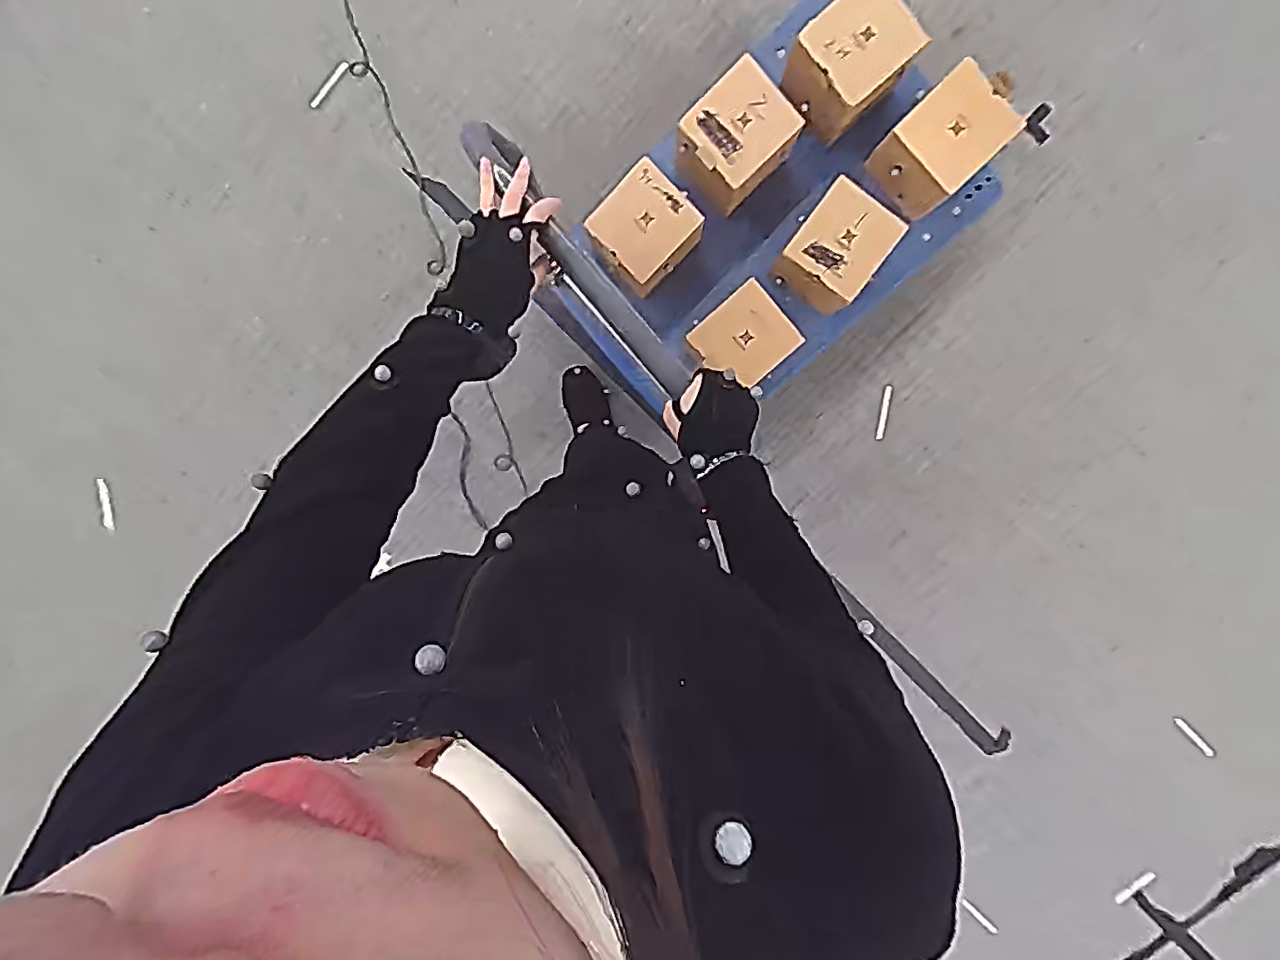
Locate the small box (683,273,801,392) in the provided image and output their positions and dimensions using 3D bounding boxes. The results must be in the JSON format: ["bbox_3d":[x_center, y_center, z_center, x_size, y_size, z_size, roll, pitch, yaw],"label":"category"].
[{"bbox_3d":[0.208,-0.304,1.151,0.179,0.176,0.168,-40,96,8],"label":"small box"}]

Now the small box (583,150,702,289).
[{"bbox_3d":[0.009,-0.523,1.121,0.179,0.176,0.168,-44,96,9],"label":"small box"}]

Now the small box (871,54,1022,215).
[{"bbox_3d":[0.587,-0.667,1.071,0.179,0.176,0.168,-43,95,8],"label":"small box"}]

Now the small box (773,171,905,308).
[{"bbox_3d":[0.394,-0.479,1.111,0.168,0.176,0.179,37,98,-3],"label":"small box"}]

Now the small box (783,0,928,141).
[{"bbox_3d":[0.407,-0.817,1.053,0.179,0.176,0.168,-39,95,9],"label":"small box"}]
